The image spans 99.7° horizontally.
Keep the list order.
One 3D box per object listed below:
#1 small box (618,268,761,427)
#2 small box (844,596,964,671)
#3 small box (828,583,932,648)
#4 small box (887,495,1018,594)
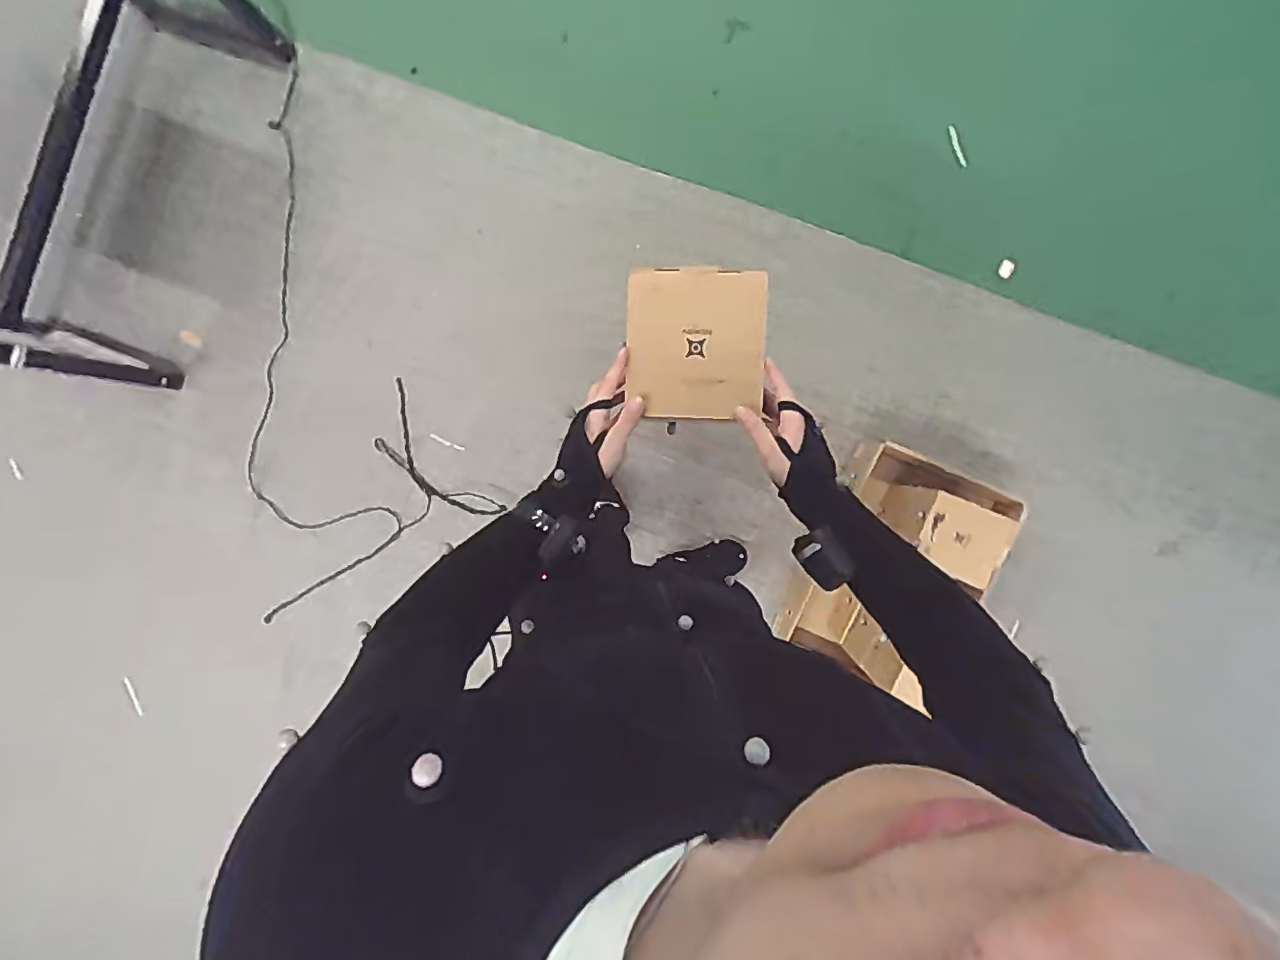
[{"bbox_3d":[0.058,-0.163,0.716,0.168,0.176,0.179,2,94,1],"label":"small box"},{"bbox_3d":[0.610,0.388,1.271,0.179,0.176,0.168,26,93,5],"label":"small box"},{"bbox_3d":[0.625,0.386,1.435,0.179,0.176,0.168,26,93,5],"label":"small box"},{"bbox_3d":[0.712,0.139,1.253,0.179,0.176,0.168,24,93,5],"label":"small box"}]
